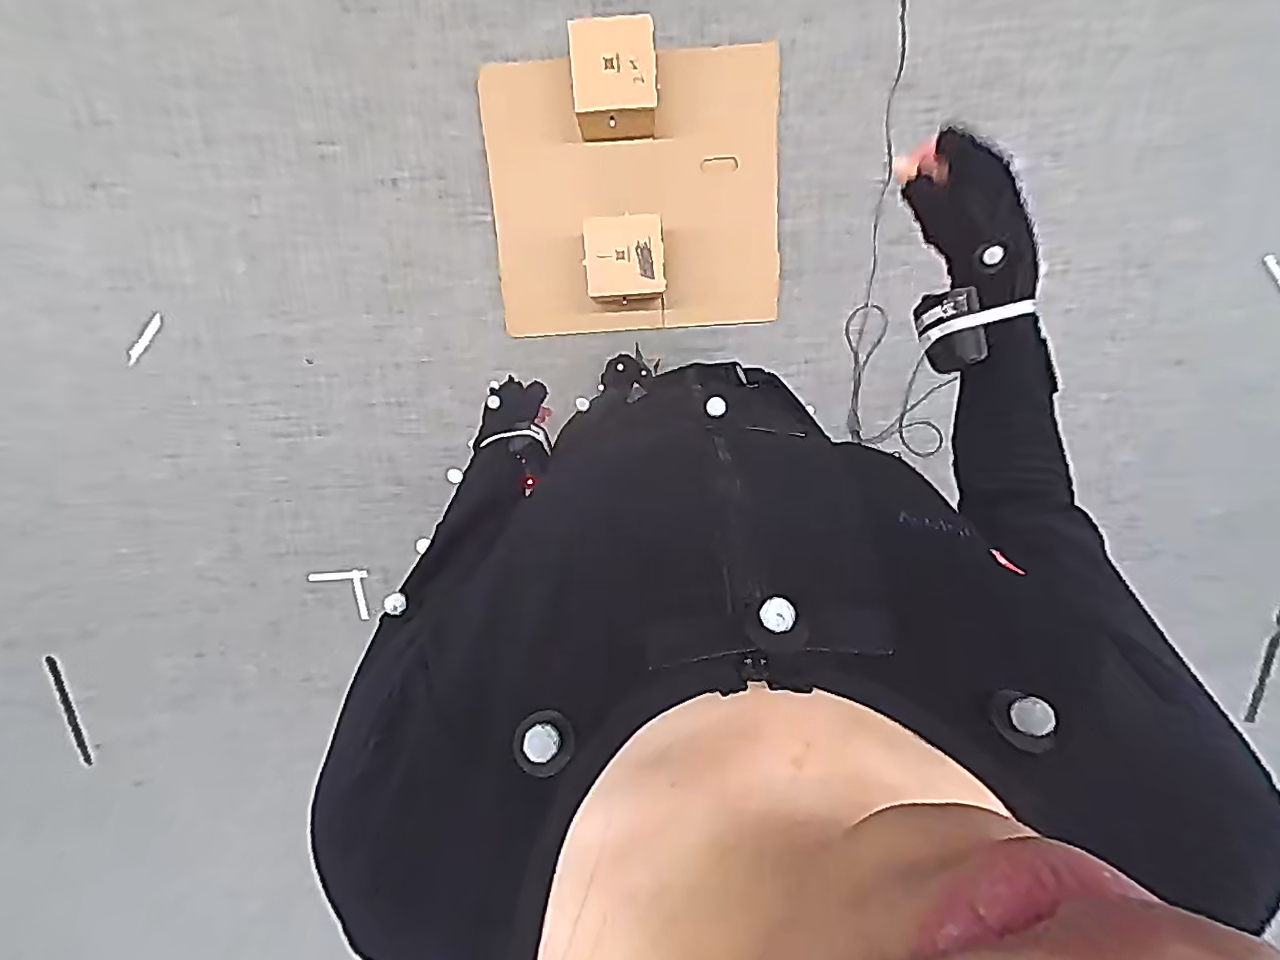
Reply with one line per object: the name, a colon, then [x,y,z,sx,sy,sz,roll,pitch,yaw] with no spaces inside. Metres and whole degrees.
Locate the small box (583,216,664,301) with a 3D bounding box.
small box: [-0.037,-0.518,1.281,0.179,0.176,0.168,-4,104,1]

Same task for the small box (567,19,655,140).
small box: [-0.058,-0.868,1.190,0.179,0.176,0.168,-3,105,0]
